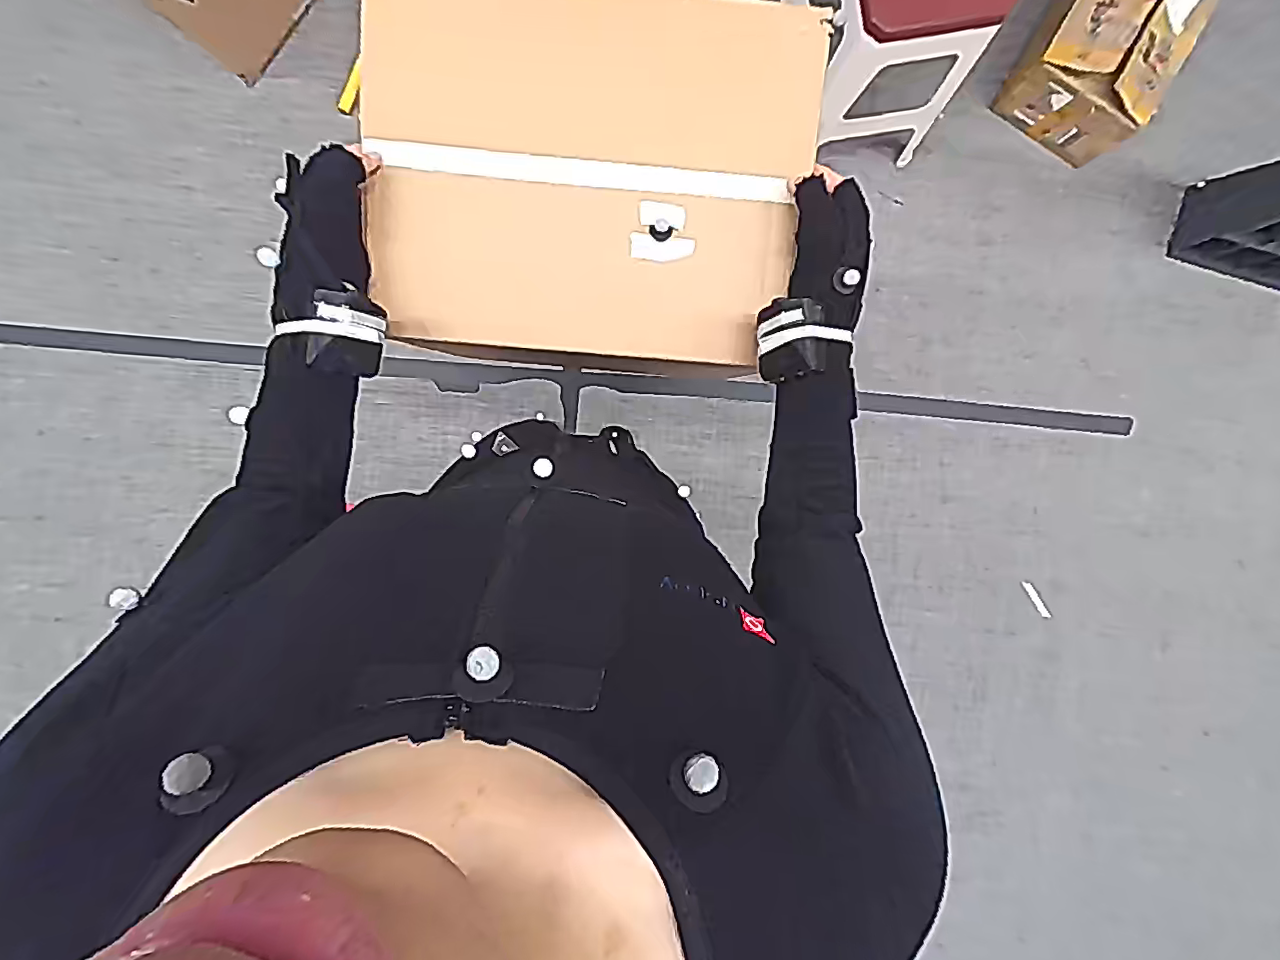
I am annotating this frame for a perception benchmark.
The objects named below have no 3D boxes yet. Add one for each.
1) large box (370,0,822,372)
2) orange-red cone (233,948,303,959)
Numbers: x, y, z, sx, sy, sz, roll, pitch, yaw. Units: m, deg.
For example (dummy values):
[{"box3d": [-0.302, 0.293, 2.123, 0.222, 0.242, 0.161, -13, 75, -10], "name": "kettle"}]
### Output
[{"box3d": [-0.052, -0.304, 0.640, 0.408, 0.320, 0.320, 4, 99, -4], "name": "large box"}, {"box3d": [-1.041, 1.430, 1.352, 0.198, 0.360, 0.199, 3, 95, -2], "name": "orange-red cone"}]
